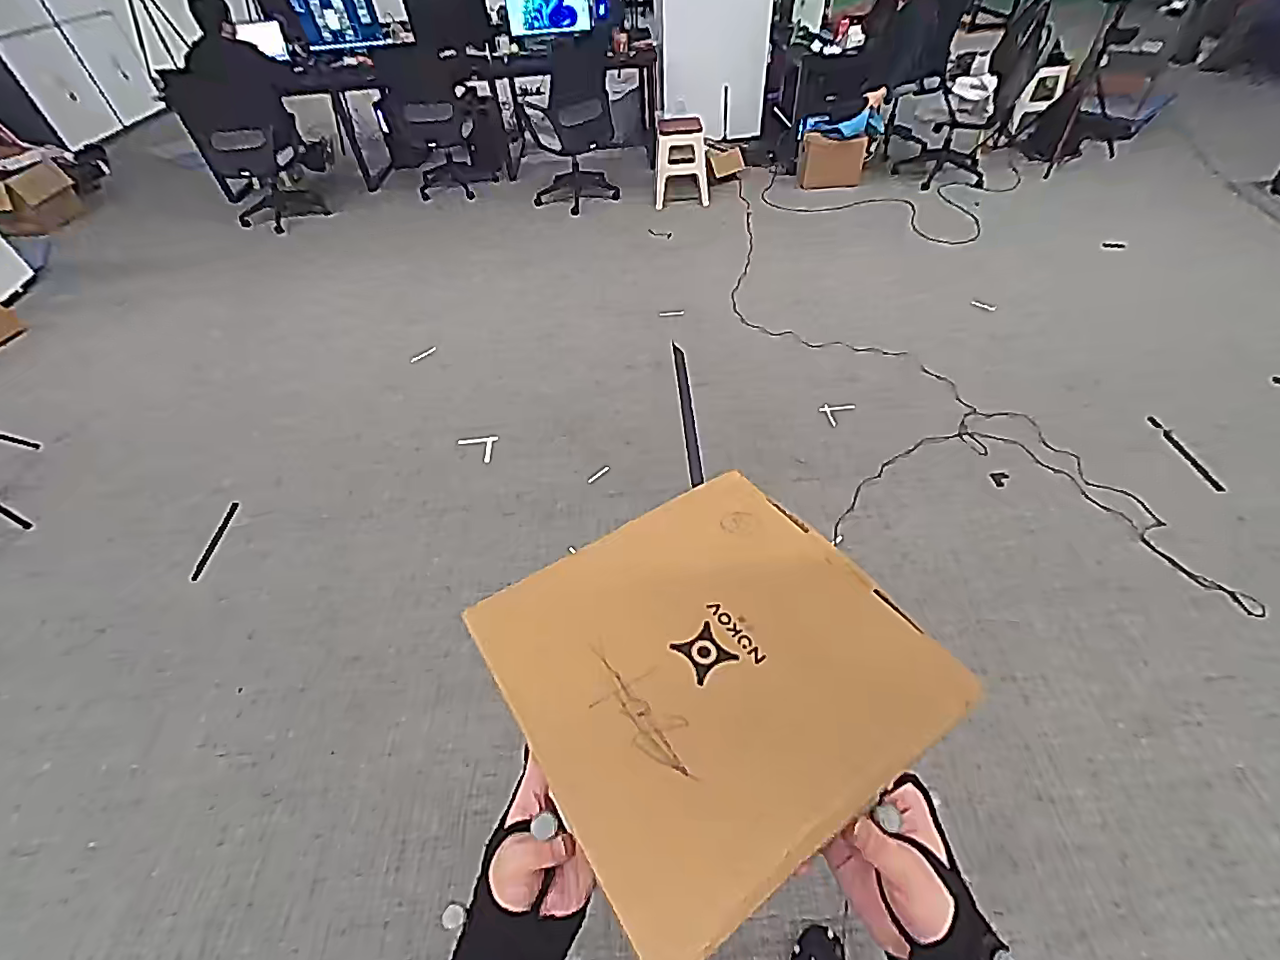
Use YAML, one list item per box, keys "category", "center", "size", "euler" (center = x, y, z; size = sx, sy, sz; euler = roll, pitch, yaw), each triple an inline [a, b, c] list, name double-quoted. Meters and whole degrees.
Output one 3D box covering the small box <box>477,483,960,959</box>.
- category: "small box"
  center: [0.032, 0.139, 0.317]
  size: [0.179, 0.176, 0.168]
  euler: [-27, 51, -22]
